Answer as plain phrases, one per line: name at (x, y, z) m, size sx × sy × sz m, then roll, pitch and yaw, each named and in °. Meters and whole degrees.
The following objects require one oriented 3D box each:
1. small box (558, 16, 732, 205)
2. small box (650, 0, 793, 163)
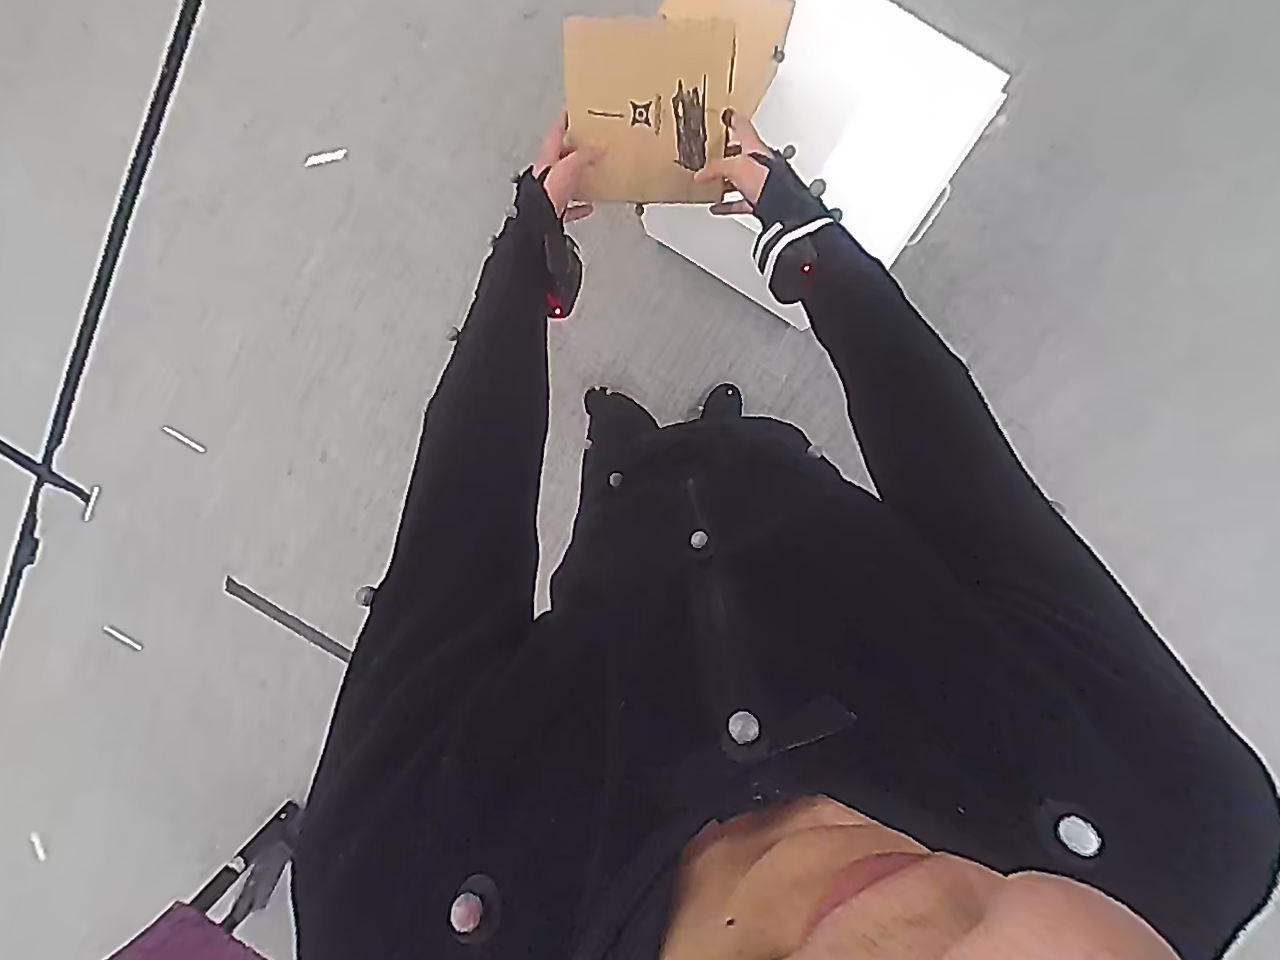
small box at (0.003, -0.421, 0.641) m, size 0.179 × 0.176 × 0.168 m, roll 1°, pitch 117°, yaw 0°
small box at (0.101, -0.626, 0.818) m, size 0.168 × 0.176 × 0.179 m, roll 31°, pitch 102°, yaw 0°
